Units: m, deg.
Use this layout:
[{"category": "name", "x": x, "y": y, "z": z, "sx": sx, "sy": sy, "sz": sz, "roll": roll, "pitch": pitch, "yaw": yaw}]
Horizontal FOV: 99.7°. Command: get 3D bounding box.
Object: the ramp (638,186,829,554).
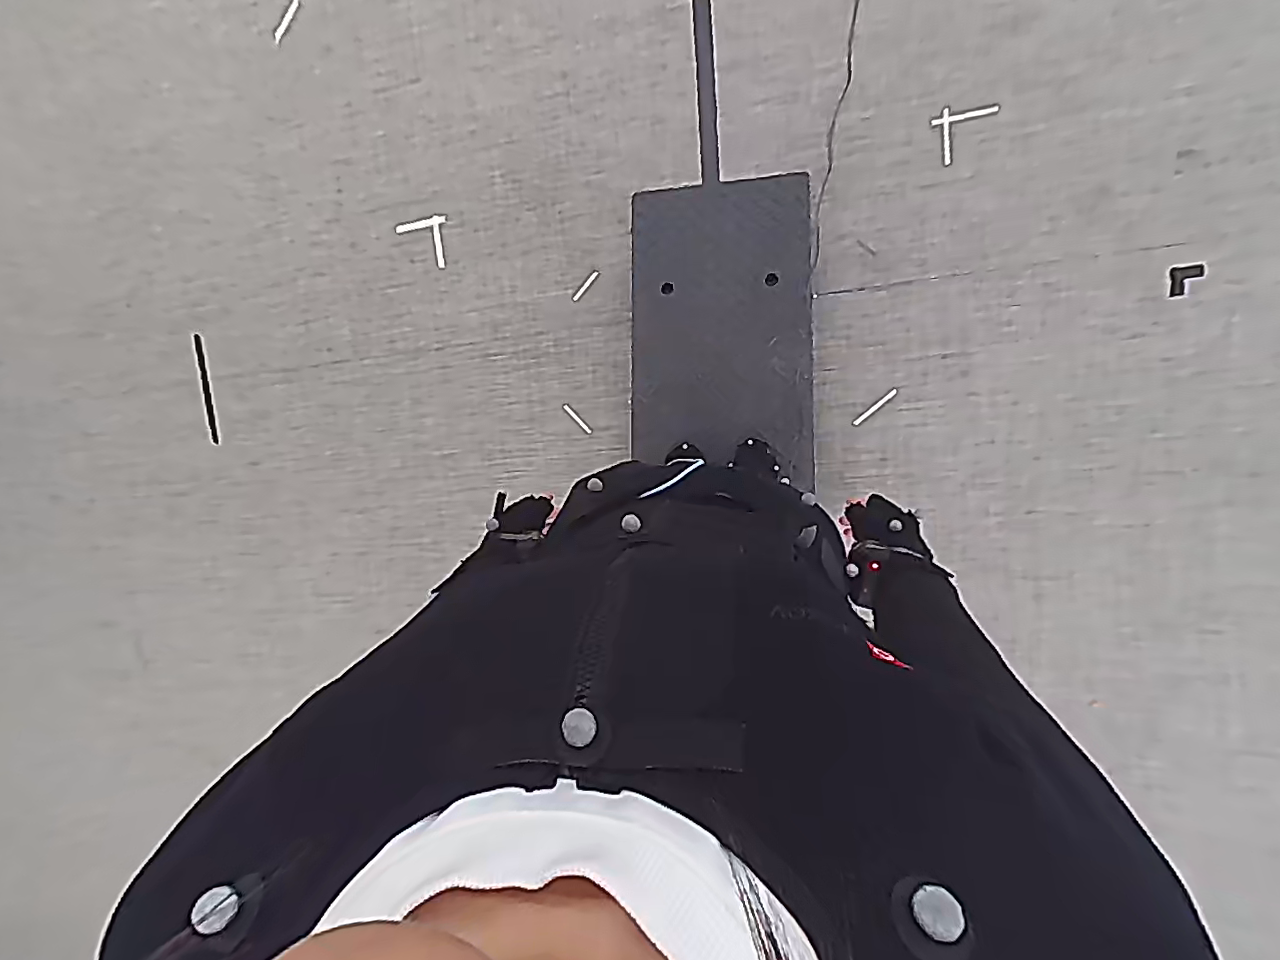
[{"category": "ramp", "x": 0.237, "y": -0.300, "z": 1.488, "sx": 0.509, "sy": 0.206, "sz": 0.991, "roll": -4, "pitch": 94, "yaw": 14}]
